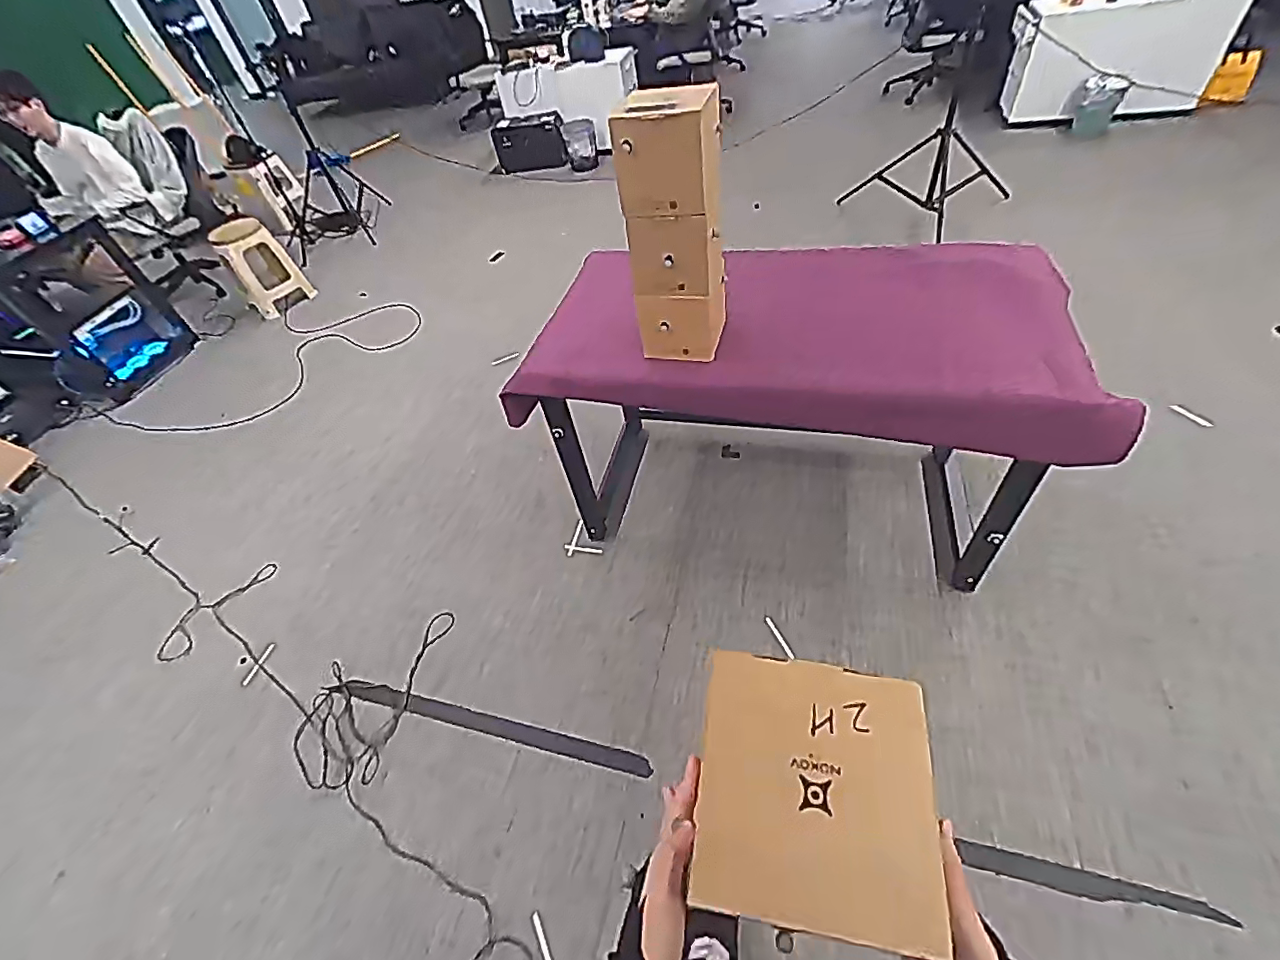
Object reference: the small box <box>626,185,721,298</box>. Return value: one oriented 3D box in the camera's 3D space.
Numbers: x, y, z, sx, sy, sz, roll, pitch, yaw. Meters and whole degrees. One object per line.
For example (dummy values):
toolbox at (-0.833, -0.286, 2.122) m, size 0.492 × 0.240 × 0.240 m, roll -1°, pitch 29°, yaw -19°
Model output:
small box at (0.080, -0.502, 1.150) m, size 0.168 × 0.176 × 0.179 m, roll 6°, pitch 50°, yaw 14°

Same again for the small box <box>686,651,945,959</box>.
small box at (0.132, 0.273, 0.462) m, size 0.168 × 0.176 × 0.179 m, roll 8°, pitch 53°, yaw 8°

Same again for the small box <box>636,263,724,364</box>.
small box at (0.102, -0.389, 1.266) m, size 0.168 × 0.176 × 0.179 m, roll 7°, pitch 50°, yaw 16°
